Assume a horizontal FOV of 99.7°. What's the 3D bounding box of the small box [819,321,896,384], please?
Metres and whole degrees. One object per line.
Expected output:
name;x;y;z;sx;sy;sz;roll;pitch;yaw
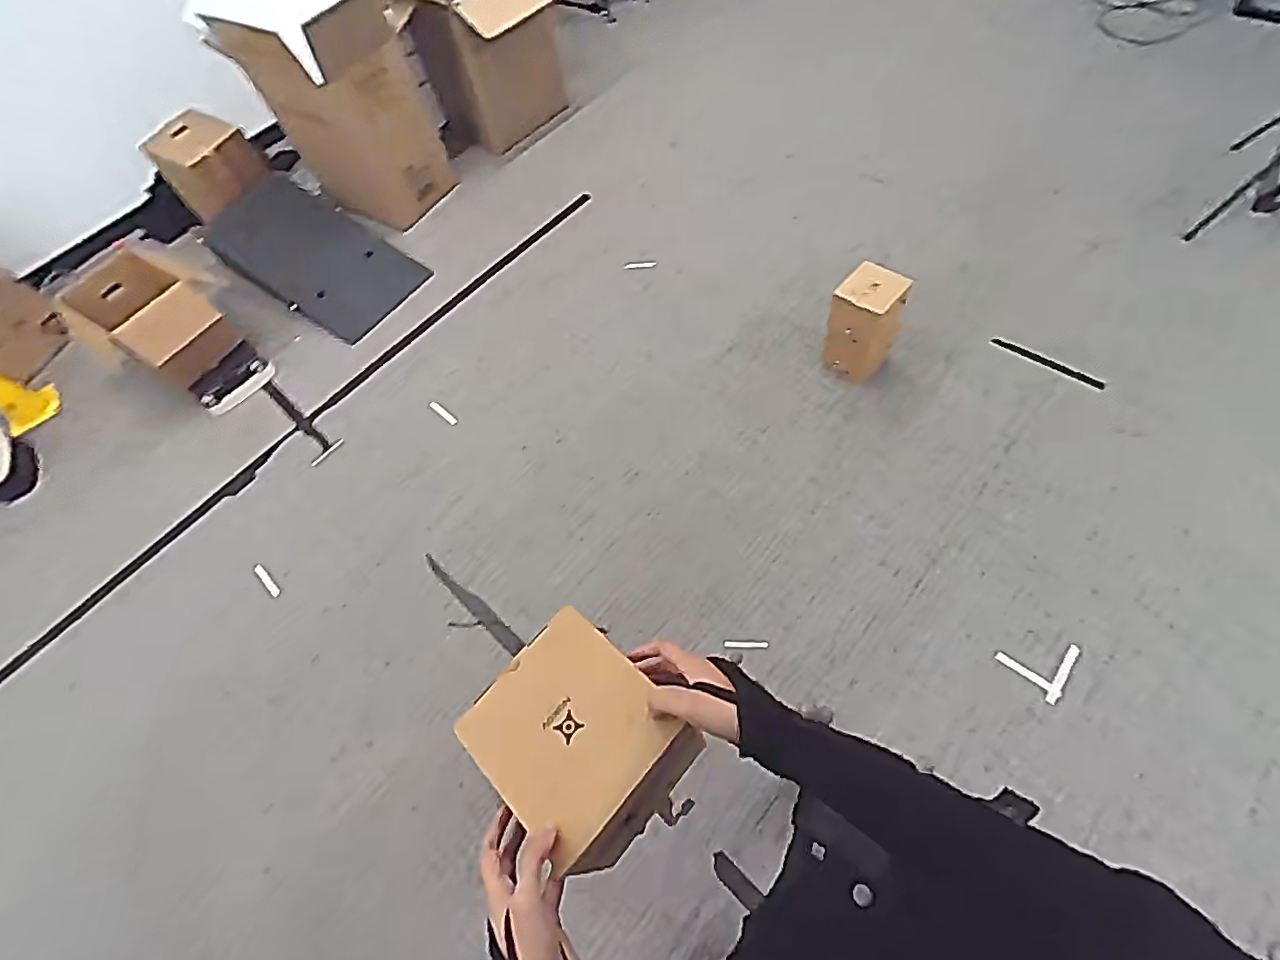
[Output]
small box;0.737;-0.465;1.854;0.168;0.176;0.179;38;73;25

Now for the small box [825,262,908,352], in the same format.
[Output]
small box;0.707;-0.545;1.713;0.168;0.176;0.179;37;73;25
